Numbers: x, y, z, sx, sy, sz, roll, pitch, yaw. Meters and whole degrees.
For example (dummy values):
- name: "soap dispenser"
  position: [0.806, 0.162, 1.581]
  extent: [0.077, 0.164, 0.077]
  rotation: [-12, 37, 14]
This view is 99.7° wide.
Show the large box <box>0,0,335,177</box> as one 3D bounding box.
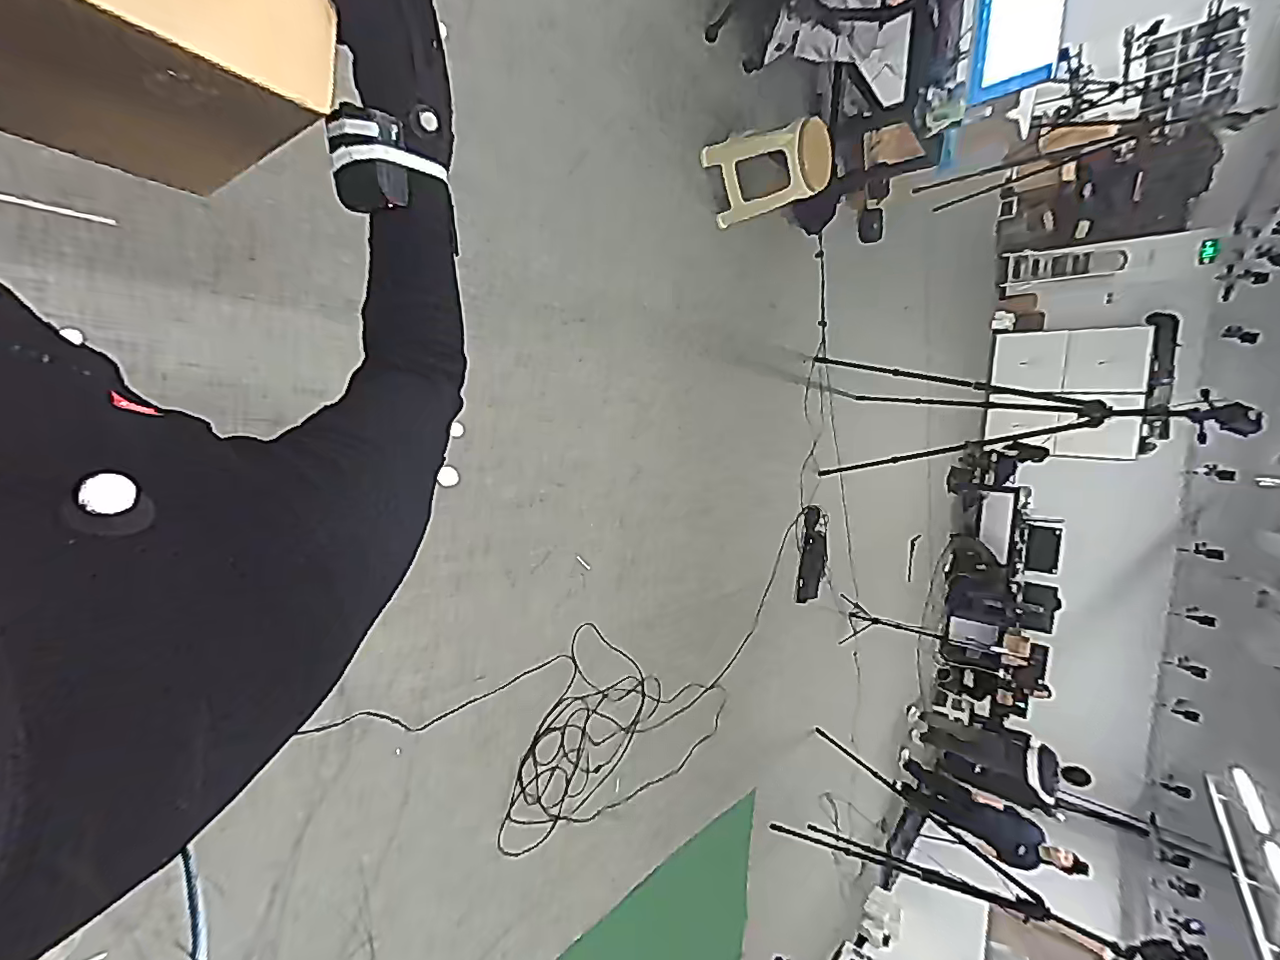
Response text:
- name: "large box"
  position: [-0.446, -0.438, 0.308]
  extent: [0.408, 0.320, 0.320]
  rotation: [-1, 100, -51]
